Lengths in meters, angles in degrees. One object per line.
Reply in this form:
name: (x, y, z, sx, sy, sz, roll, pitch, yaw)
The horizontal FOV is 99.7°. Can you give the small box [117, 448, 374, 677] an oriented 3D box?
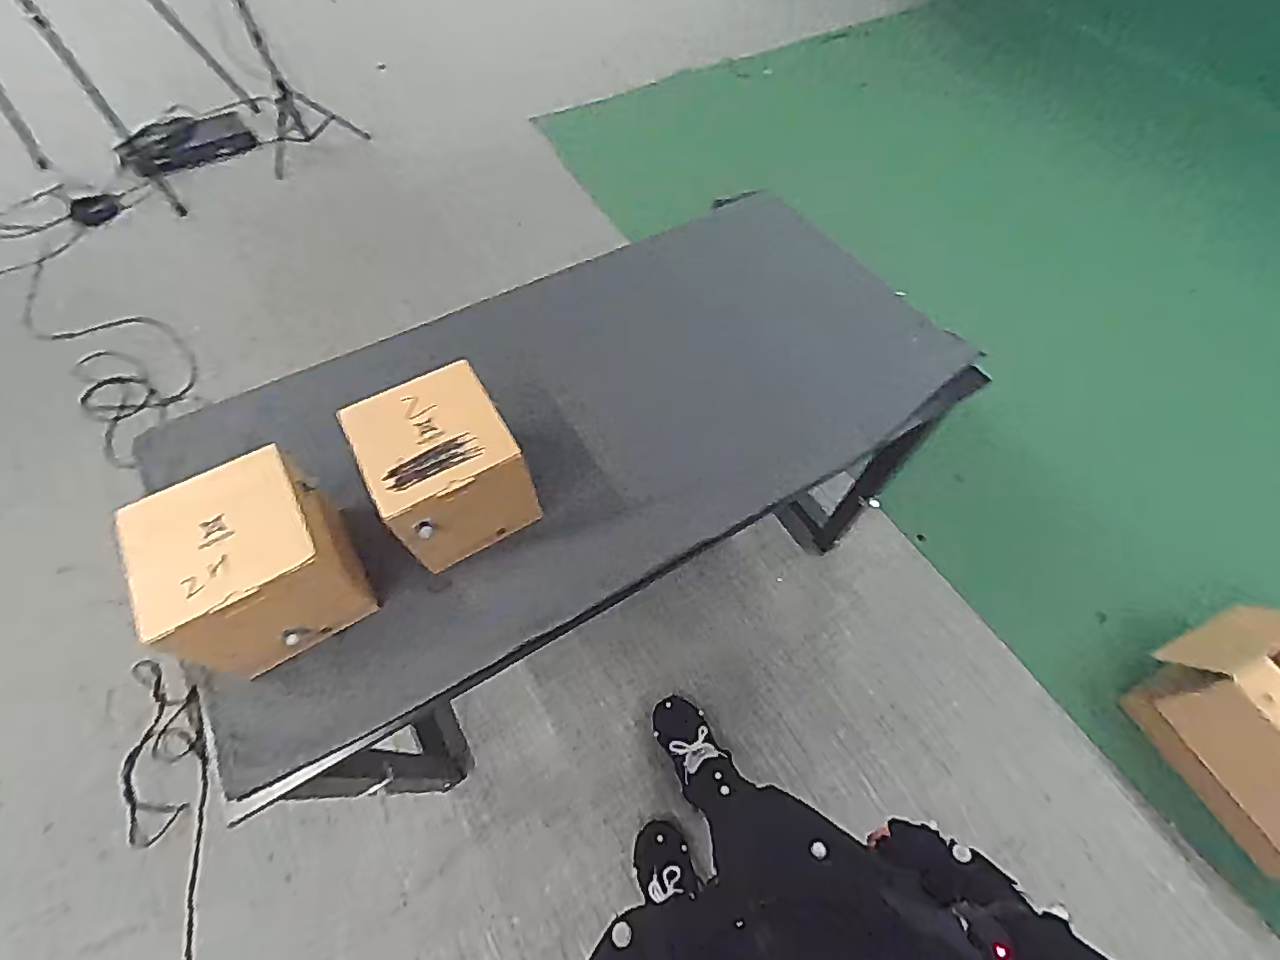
small box: (-0.448, 0.102, 0.634, 0.168, 0.176, 0.179, -29, 64, -17)
